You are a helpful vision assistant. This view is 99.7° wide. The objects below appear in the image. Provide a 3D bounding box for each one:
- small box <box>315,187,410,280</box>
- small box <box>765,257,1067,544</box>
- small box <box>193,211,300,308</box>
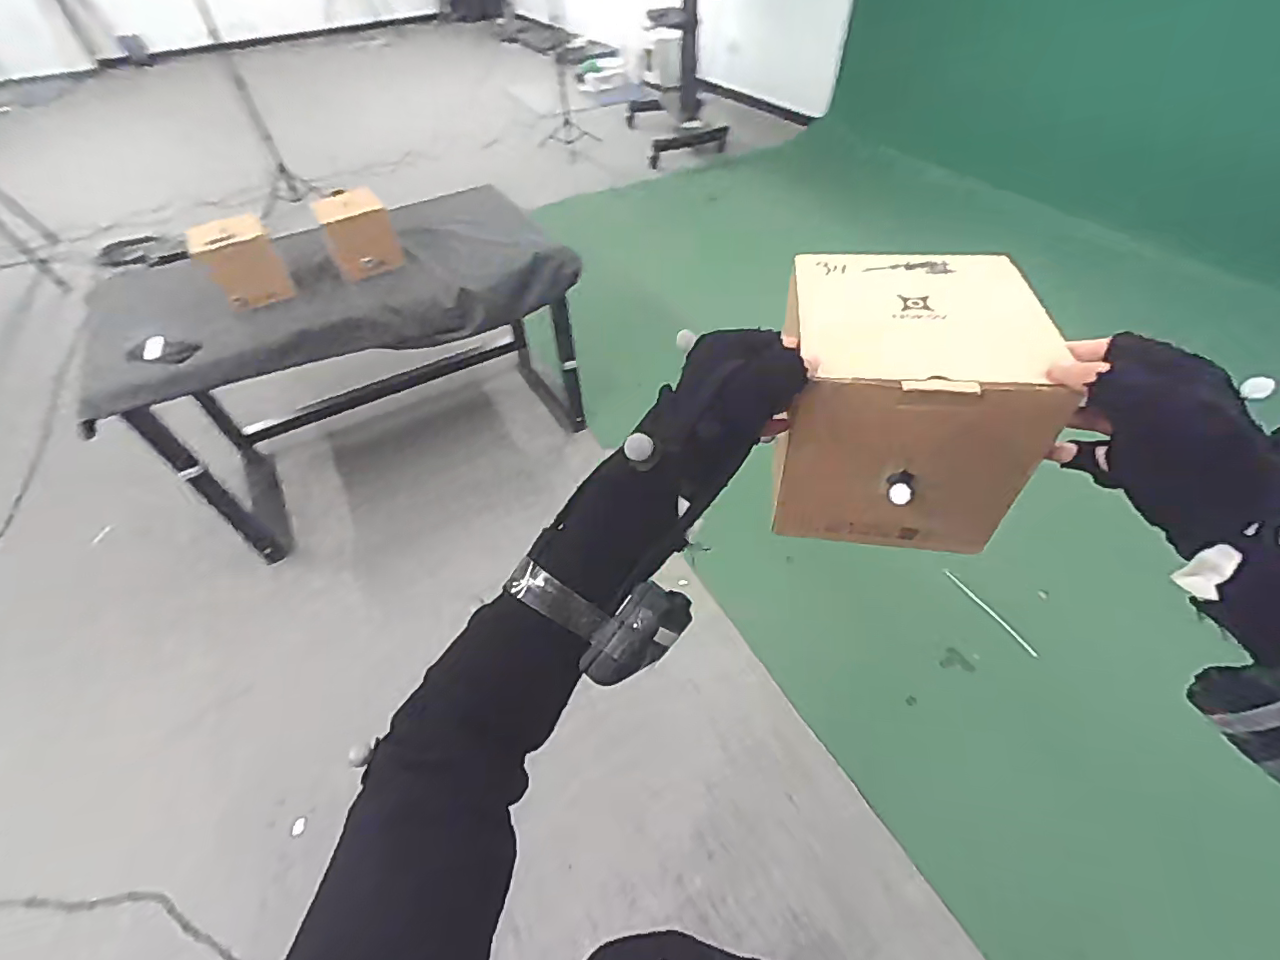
[{"bbox_3d":[-0.773,-0.689,1.514,0.168,0.176,0.179,-29,54,-19],"label":"small box"},{"bbox_3d":[0.197,-0.065,0.450,0.168,0.176,0.179,4,48,9],"label":"small box"},{"bbox_3d":[-1.029,-0.574,1.421,0.168,0.176,0.179,-27,52,-20],"label":"small box"}]
